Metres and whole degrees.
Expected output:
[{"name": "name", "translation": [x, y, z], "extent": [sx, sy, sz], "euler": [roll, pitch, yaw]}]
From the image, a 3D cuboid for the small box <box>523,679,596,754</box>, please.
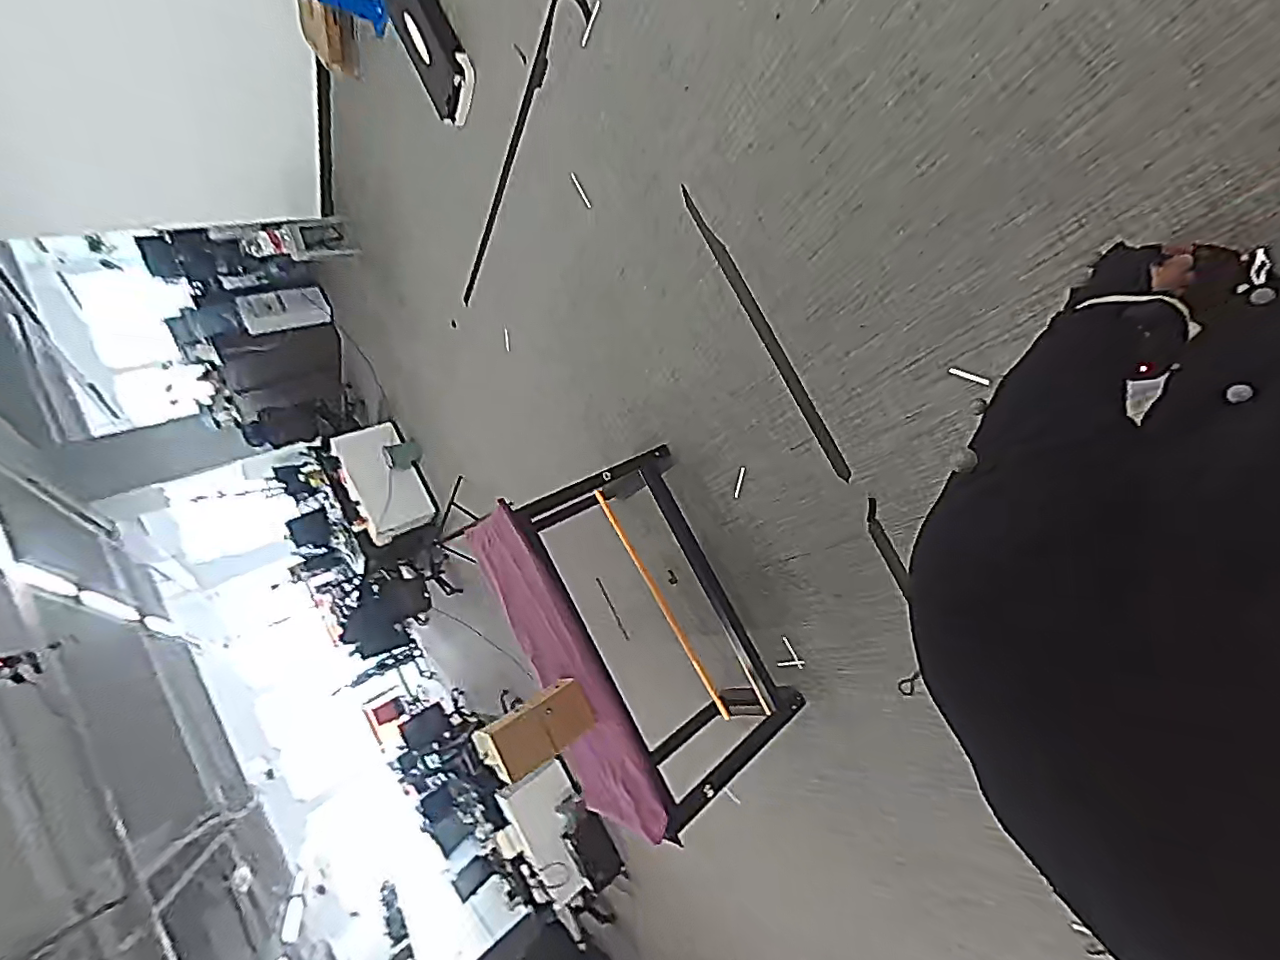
[{"name": "small box", "translation": [-0.279, 0.819, 1.887], "extent": [0.179, 0.176, 0.168], "euler": [63, 146, 5]}]
